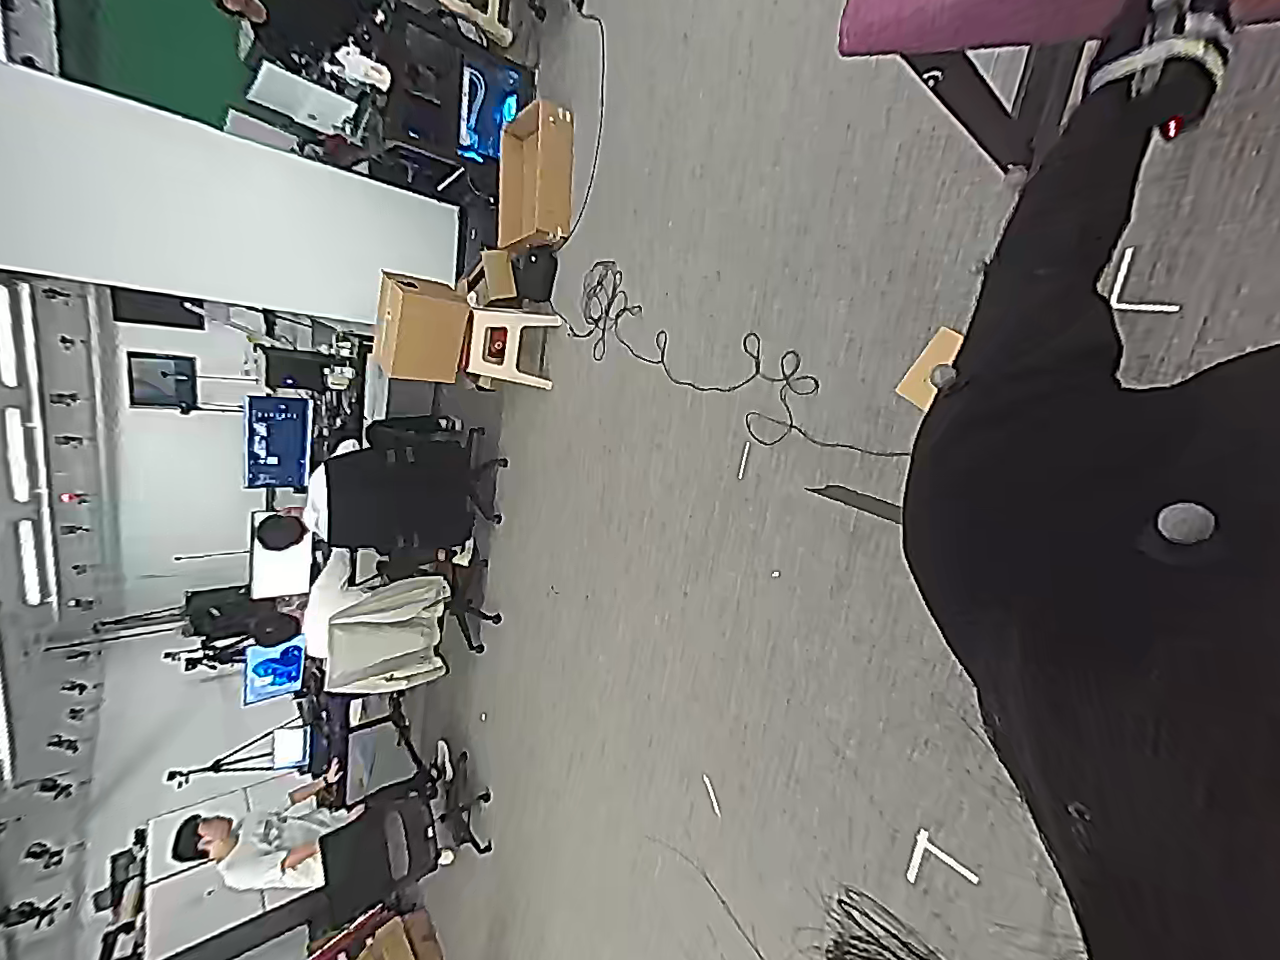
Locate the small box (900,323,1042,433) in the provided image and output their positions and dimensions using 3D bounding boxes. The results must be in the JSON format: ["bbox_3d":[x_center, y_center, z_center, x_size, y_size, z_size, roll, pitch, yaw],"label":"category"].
[{"bbox_3d":[0.714,-0.216,1.163,0.179,0.176,0.168,50,126,36],"label":"small box"}]
